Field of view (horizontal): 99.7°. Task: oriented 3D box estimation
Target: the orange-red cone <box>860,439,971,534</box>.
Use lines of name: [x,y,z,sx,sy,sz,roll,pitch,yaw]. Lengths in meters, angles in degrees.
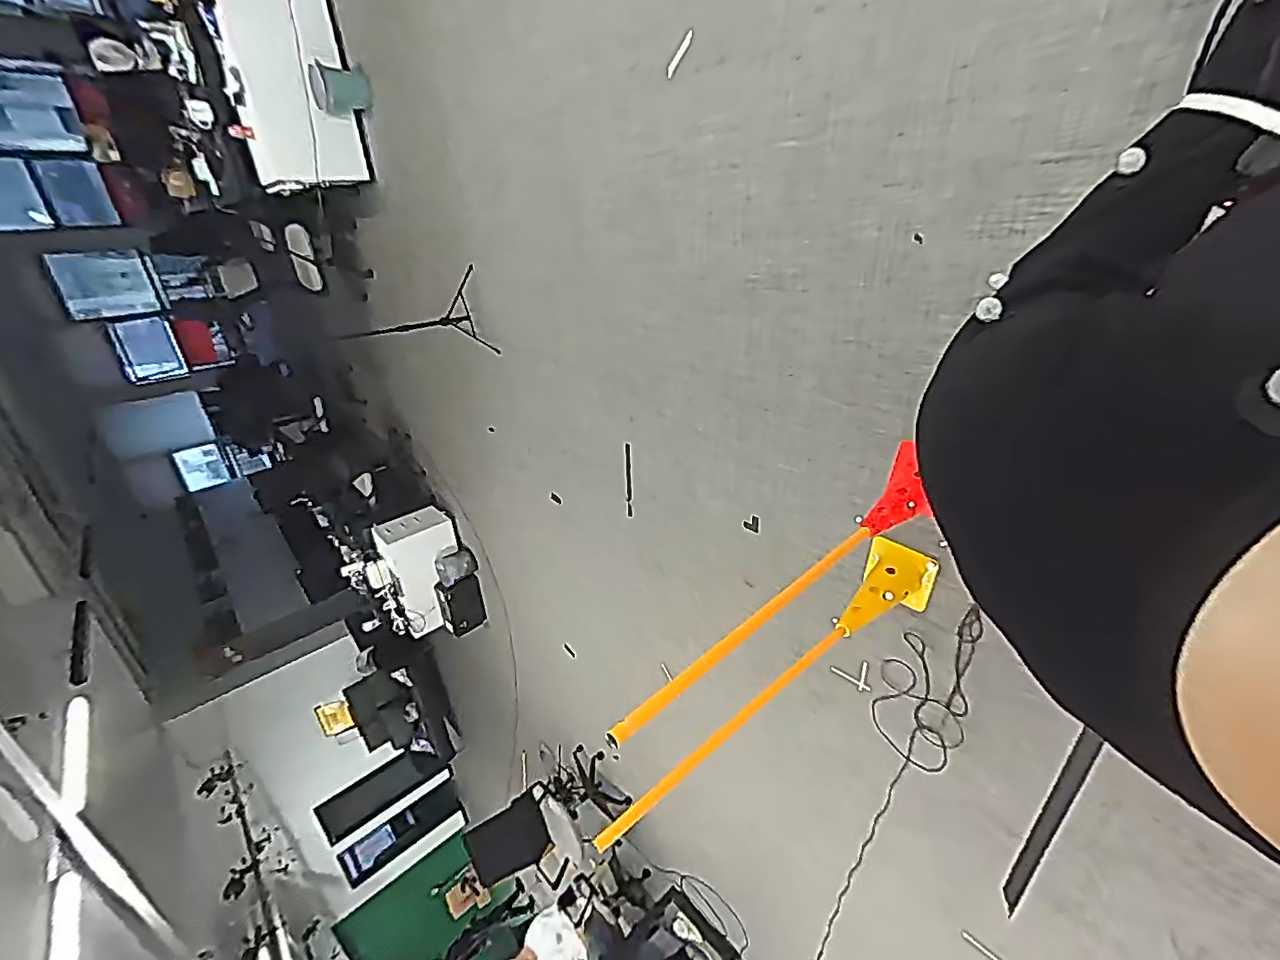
orange-red cone: [0.676,0.055,1.413,0.198,0.360,0.199,31,130,36]
